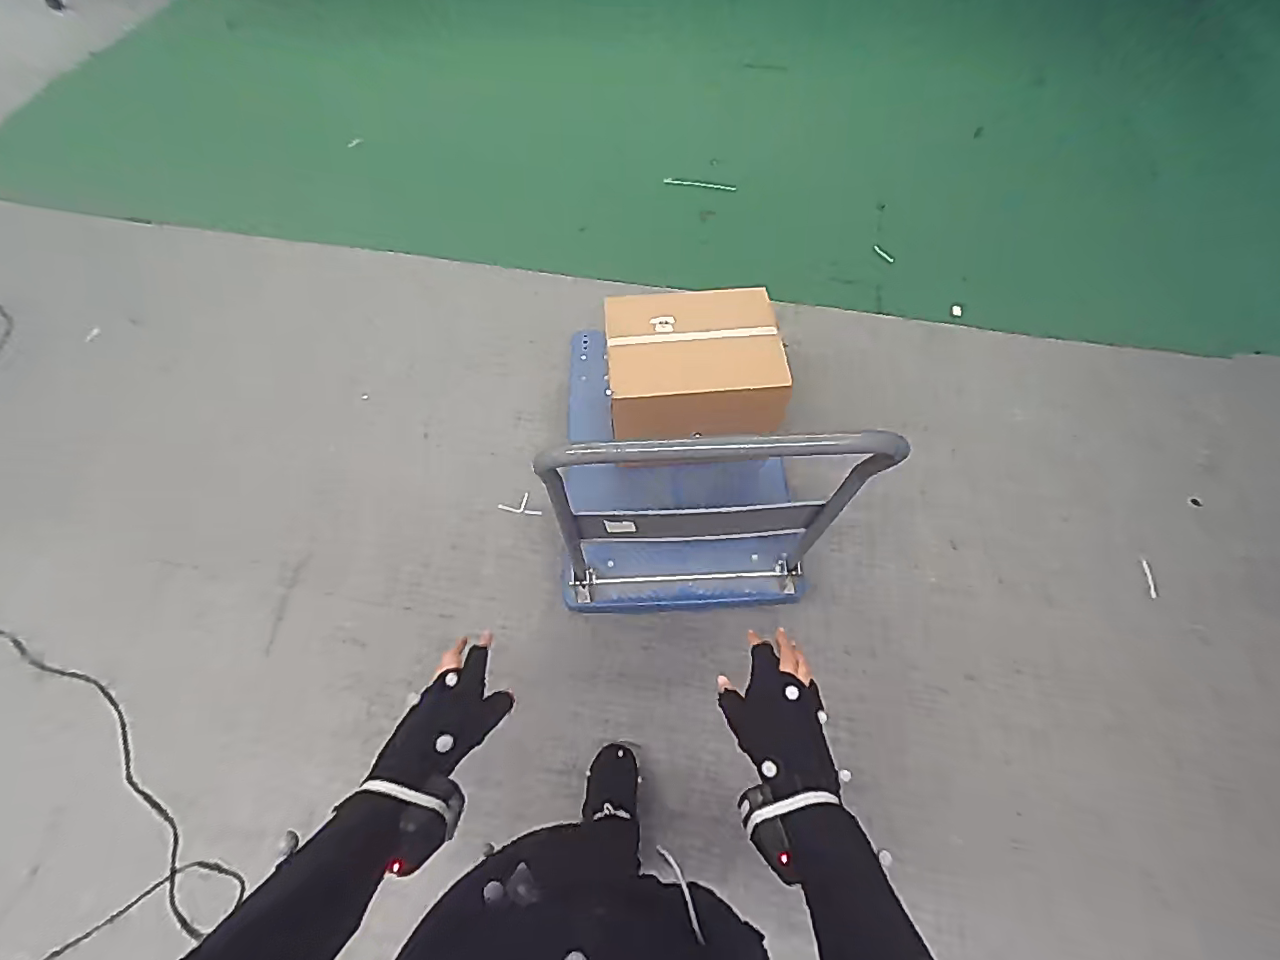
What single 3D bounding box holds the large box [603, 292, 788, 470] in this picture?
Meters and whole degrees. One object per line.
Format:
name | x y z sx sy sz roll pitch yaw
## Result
large box | 0.126 -0.244 1.395 0.408 0.320 0.320 -5 60 -1
